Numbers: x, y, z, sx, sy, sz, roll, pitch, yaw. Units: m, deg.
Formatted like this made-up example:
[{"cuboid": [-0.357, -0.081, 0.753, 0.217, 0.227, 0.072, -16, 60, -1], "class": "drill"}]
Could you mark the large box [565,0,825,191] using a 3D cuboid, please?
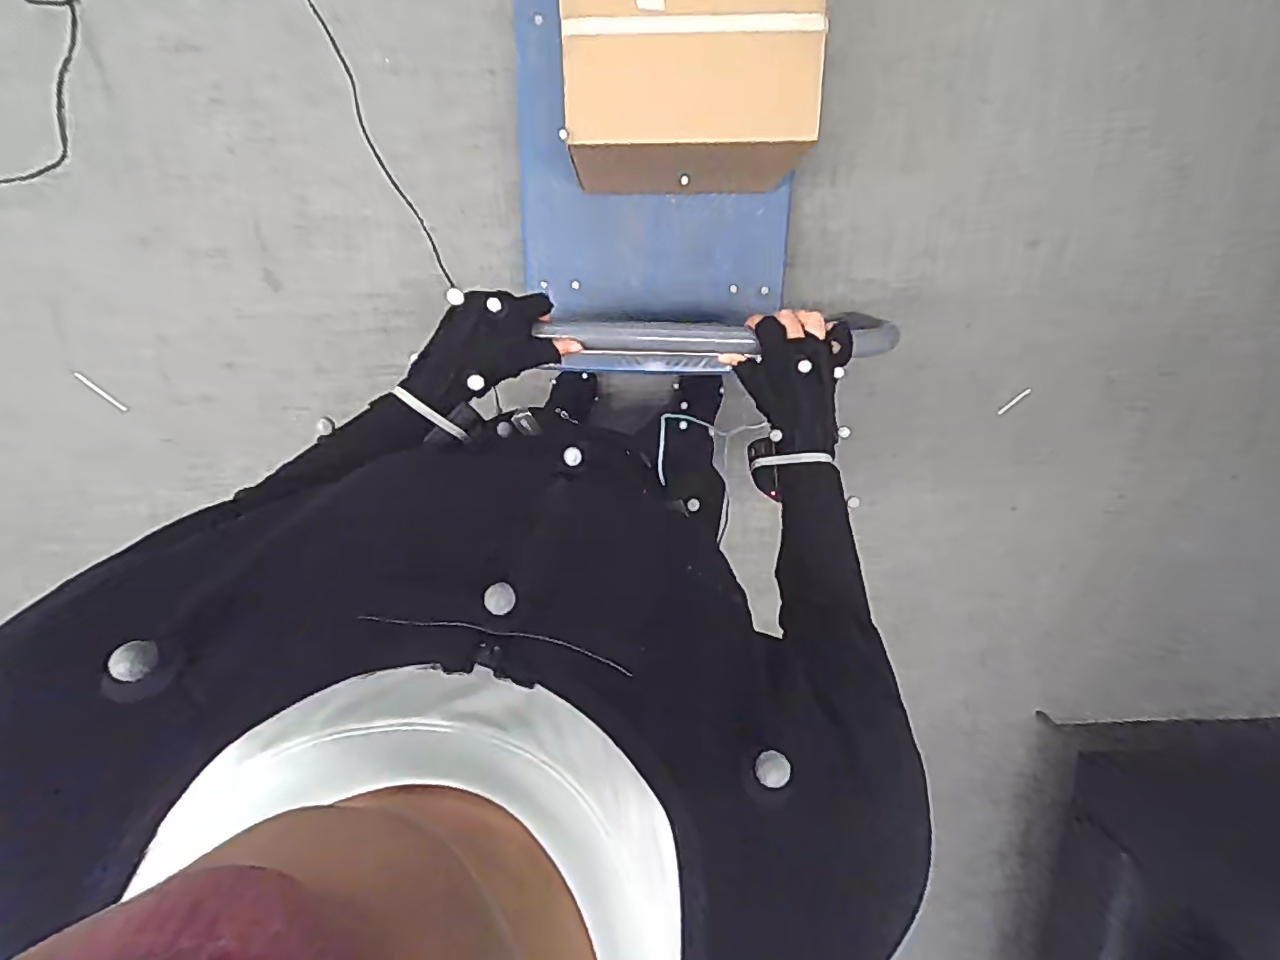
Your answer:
[{"cuboid": [0.086, -0.731, 0.974, 0.408, 0.320, 0.320, -1, 104, 0], "class": "large box"}]
